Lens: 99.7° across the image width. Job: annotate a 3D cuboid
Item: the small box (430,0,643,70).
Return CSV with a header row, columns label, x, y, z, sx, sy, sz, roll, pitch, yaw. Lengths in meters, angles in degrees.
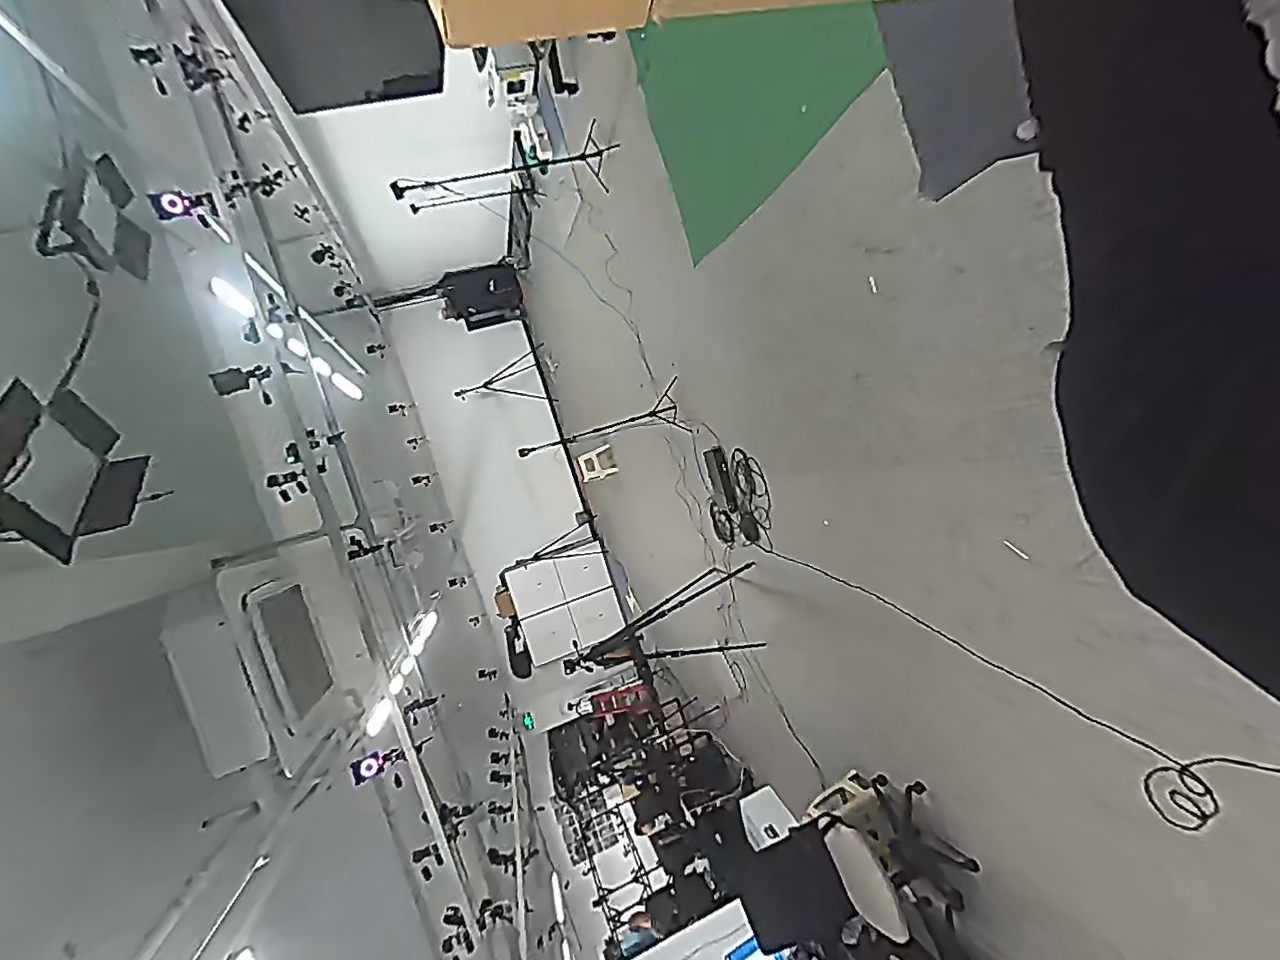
label,x,y,z,sx,sy,sz,roll,pitch,yaw
small box,-0.082,-0.437,0.368,0.168,0.176,0.179,163,88,-77
